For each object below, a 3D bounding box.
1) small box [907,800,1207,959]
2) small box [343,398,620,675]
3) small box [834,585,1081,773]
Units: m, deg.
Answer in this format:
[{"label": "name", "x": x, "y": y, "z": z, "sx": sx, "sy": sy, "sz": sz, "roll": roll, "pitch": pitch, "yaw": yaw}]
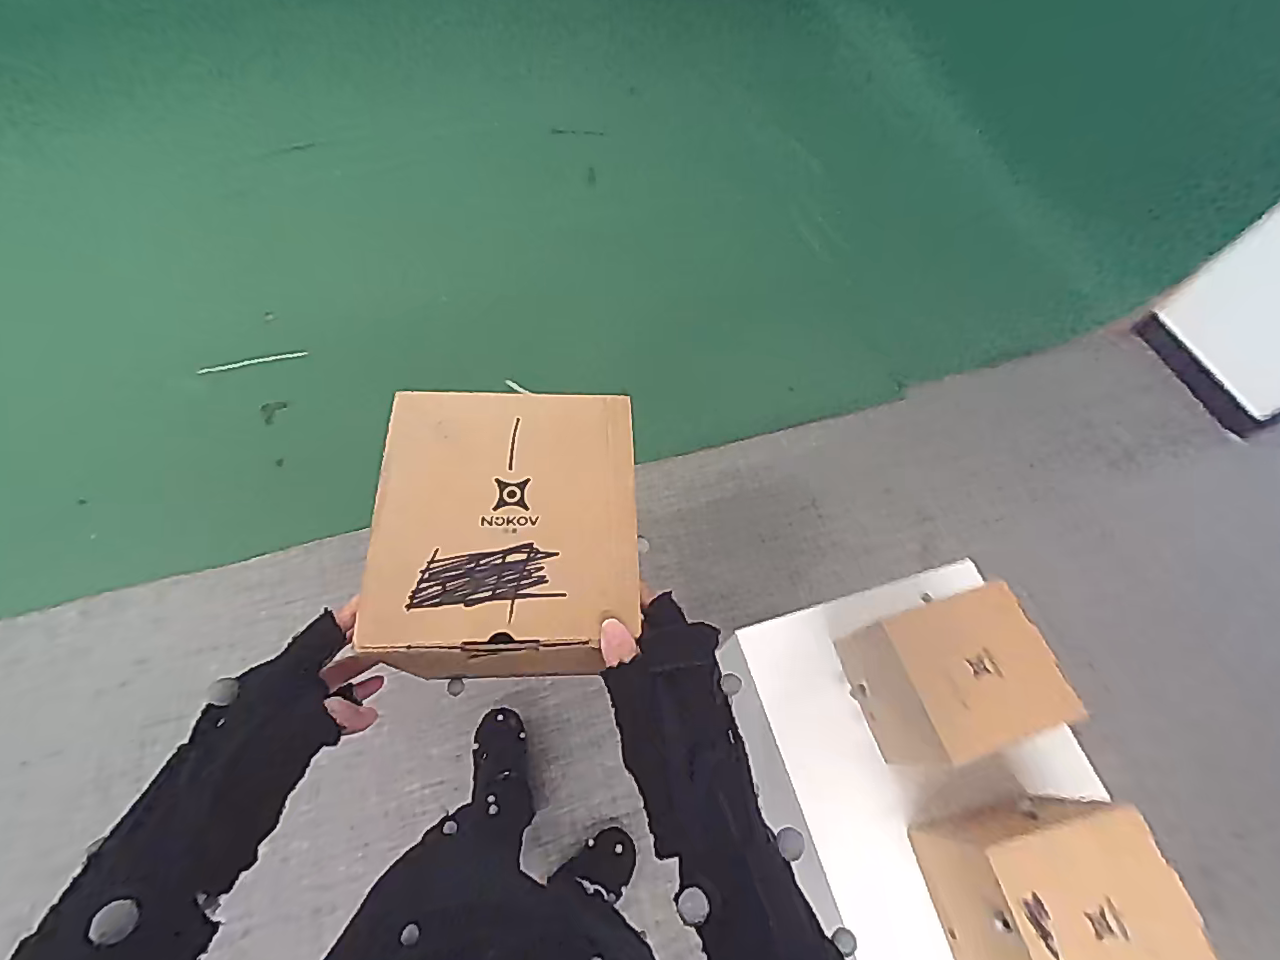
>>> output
[{"label": "small box", "x": 0.433, "y": 0.460, "z": 0.584, "sx": 0.179, "sy": 0.176, "sz": 0.168, "roll": -10, "pitch": 64, "yaw": -8}, {"label": "small box", "x": -0.102, "y": 0.055, "z": 0.425, "sx": 0.168, "sy": 0.176, "sz": 0.179, "roll": 0, "pitch": 63, "yaw": -6}, {"label": "small box", "x": 0.382, "y": 0.254, "z": 0.689, "sx": 0.179, "sy": 0.176, "sz": 0.168, "roll": -16, "pitch": 64, "yaw": -8}]
